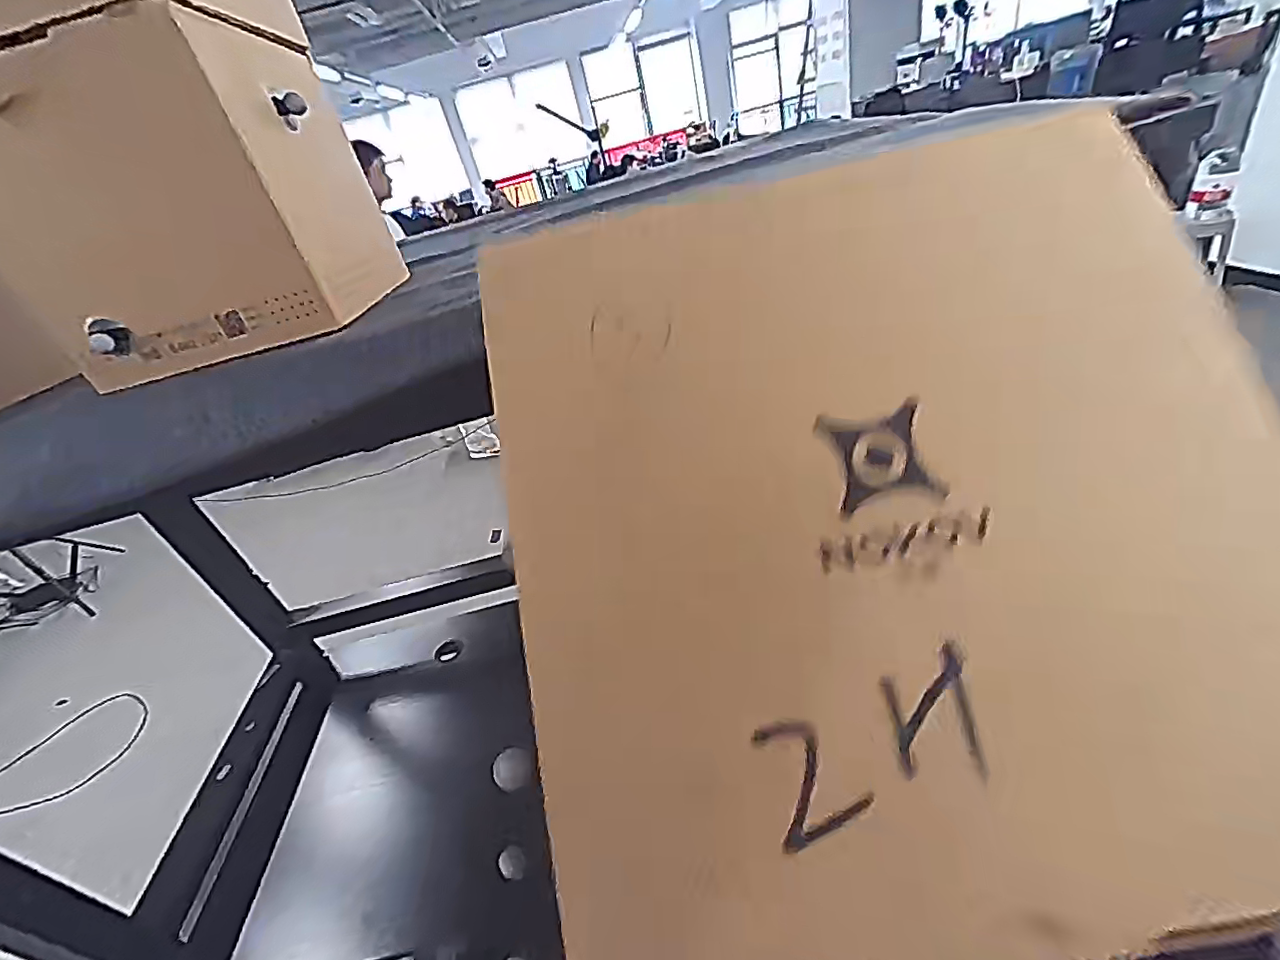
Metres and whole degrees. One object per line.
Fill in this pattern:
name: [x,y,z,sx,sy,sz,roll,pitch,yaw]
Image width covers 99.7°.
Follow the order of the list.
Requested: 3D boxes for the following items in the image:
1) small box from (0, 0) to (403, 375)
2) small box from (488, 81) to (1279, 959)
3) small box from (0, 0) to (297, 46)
small box: [-0.292,-0.185,0.373,0.168,0.176,0.179,-15,31,1]
small box: [0.060,0.015,0.195,0.168,0.176,0.179,-12,75,3]
small box: [-0.328,-0.320,0.290,0.168,0.176,0.179,-15,32,2]
